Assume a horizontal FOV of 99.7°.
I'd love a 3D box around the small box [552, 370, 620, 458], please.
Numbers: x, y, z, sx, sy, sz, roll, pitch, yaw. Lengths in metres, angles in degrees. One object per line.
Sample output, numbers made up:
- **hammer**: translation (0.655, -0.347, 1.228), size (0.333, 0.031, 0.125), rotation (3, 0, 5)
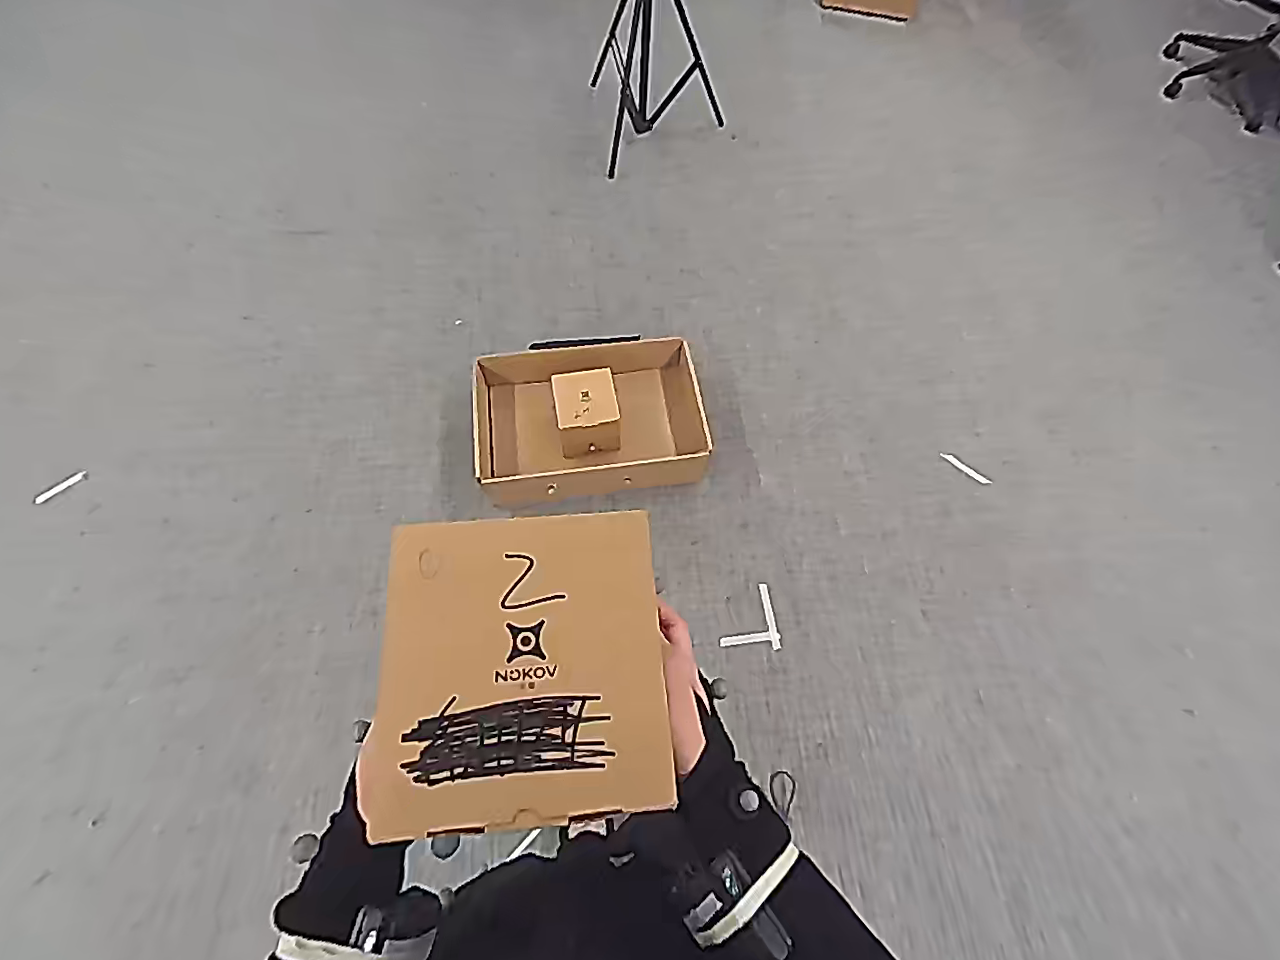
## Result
- **small box**: translation (-0.153, -0.185, 1.525), size (0.168, 0.176, 0.179), rotation (-9, 66, -7)
